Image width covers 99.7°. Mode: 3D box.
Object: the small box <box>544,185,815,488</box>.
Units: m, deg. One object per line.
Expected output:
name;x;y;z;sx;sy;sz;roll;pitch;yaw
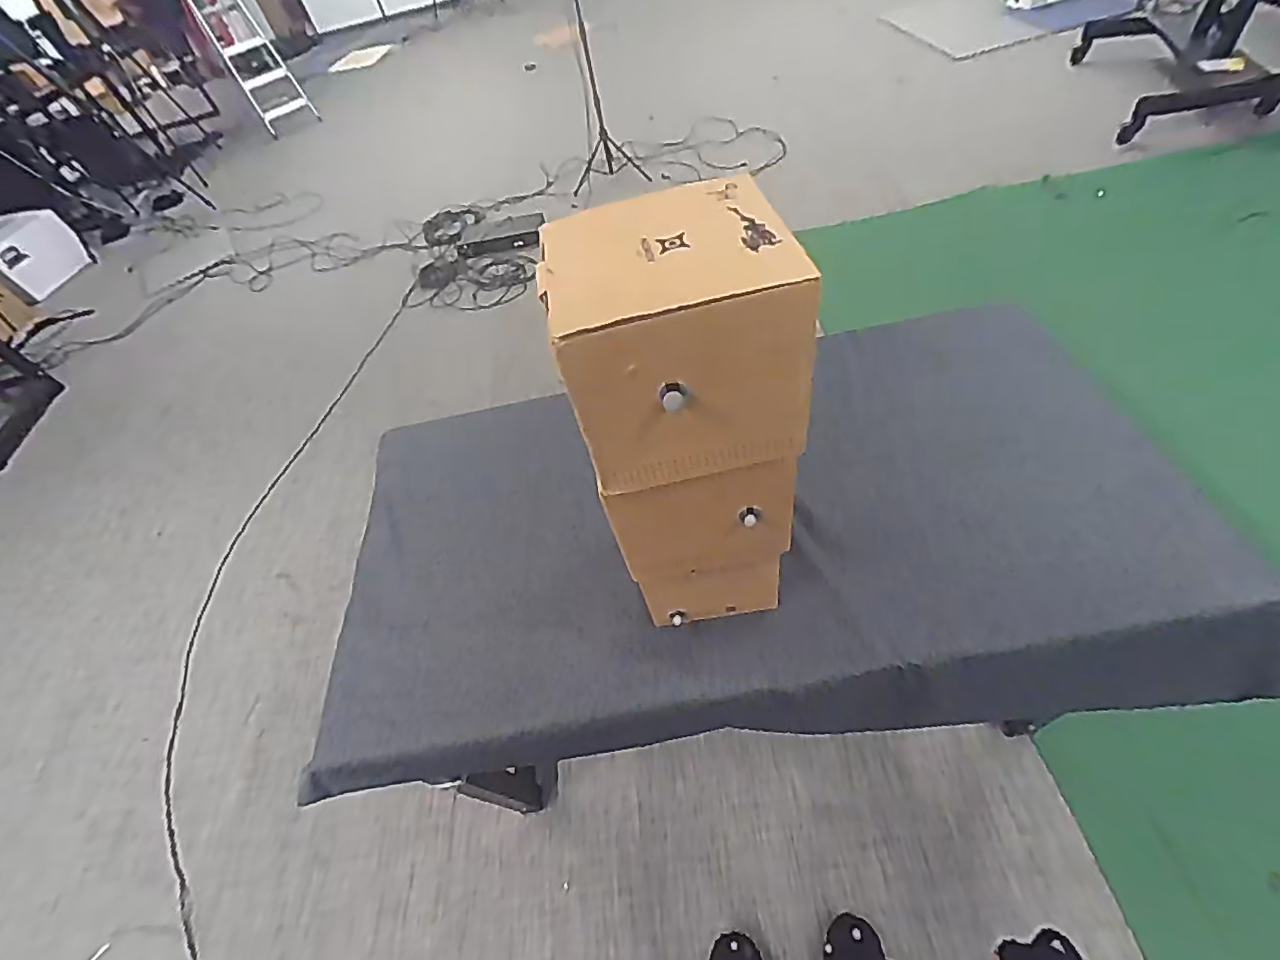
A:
small box;0.031;-0.115;0.458;0.179;0.176;0.168;-15;49;0

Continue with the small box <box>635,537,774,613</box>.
small box;0.081;0.065;0.723;0.168;0.176;0.179;-10;51;5

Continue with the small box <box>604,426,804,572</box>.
small box;0.054;-0.026;0.571;0.179;0.176;0.168;-14;51;1
